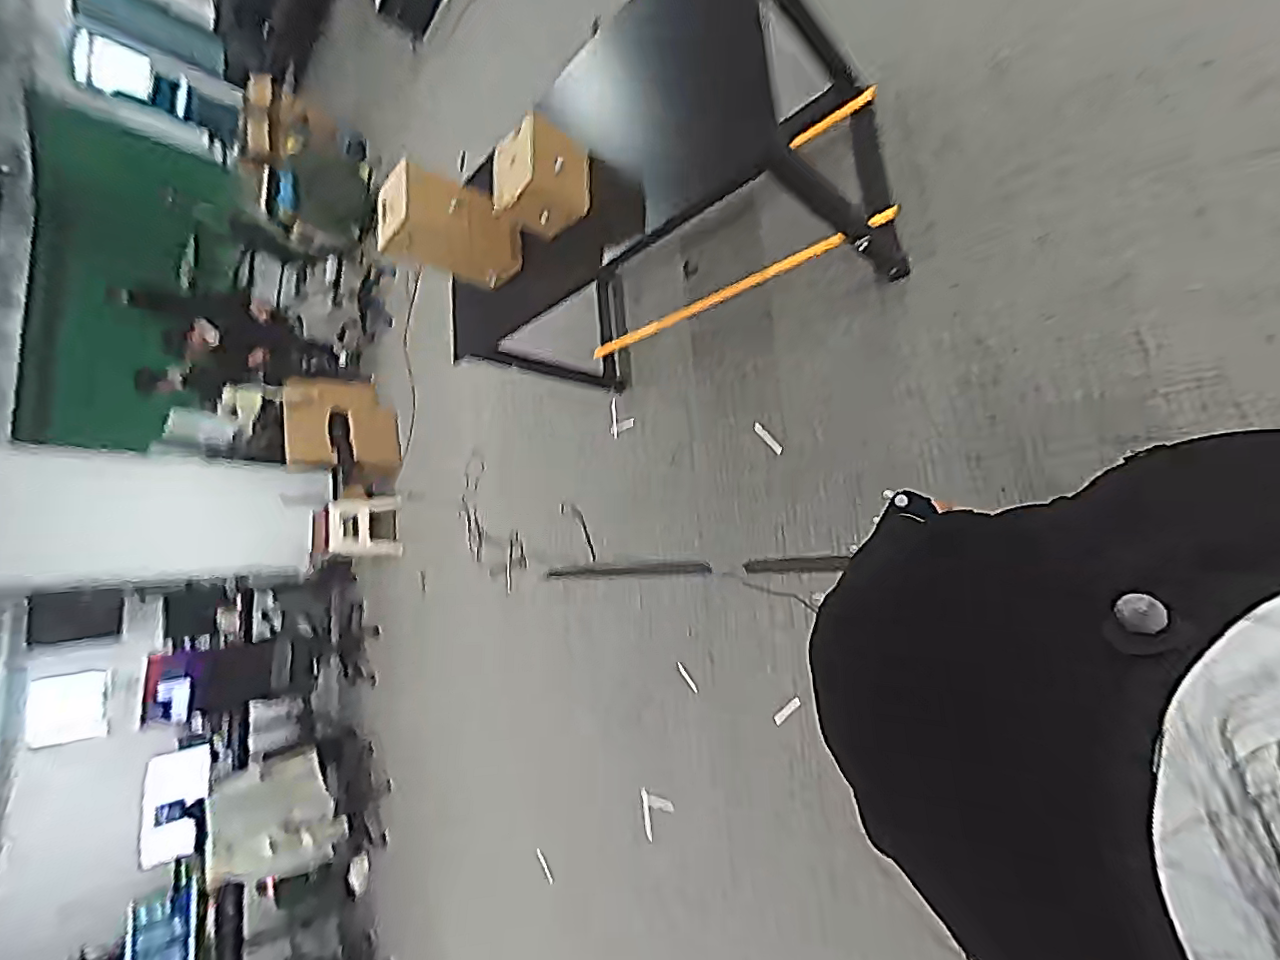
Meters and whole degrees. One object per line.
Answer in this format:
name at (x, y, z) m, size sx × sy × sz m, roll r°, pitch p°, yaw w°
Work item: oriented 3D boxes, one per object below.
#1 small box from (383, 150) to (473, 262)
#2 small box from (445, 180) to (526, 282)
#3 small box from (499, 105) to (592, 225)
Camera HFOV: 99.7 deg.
small box at (-0.552, -0.701, 1.409) m, size 0.179 × 0.176 × 0.168 m, roll -14°, pitch 77°, yaw 43°
small box at (-0.436, -0.693, 1.526) m, size 0.168 × 0.176 × 0.179 m, roll -13°, pitch 78°, yaw 44°
small box at (-0.229, -0.754, 1.325) m, size 0.168 × 0.176 × 0.179 m, roll -8°, pitch 81°, yaw 43°
